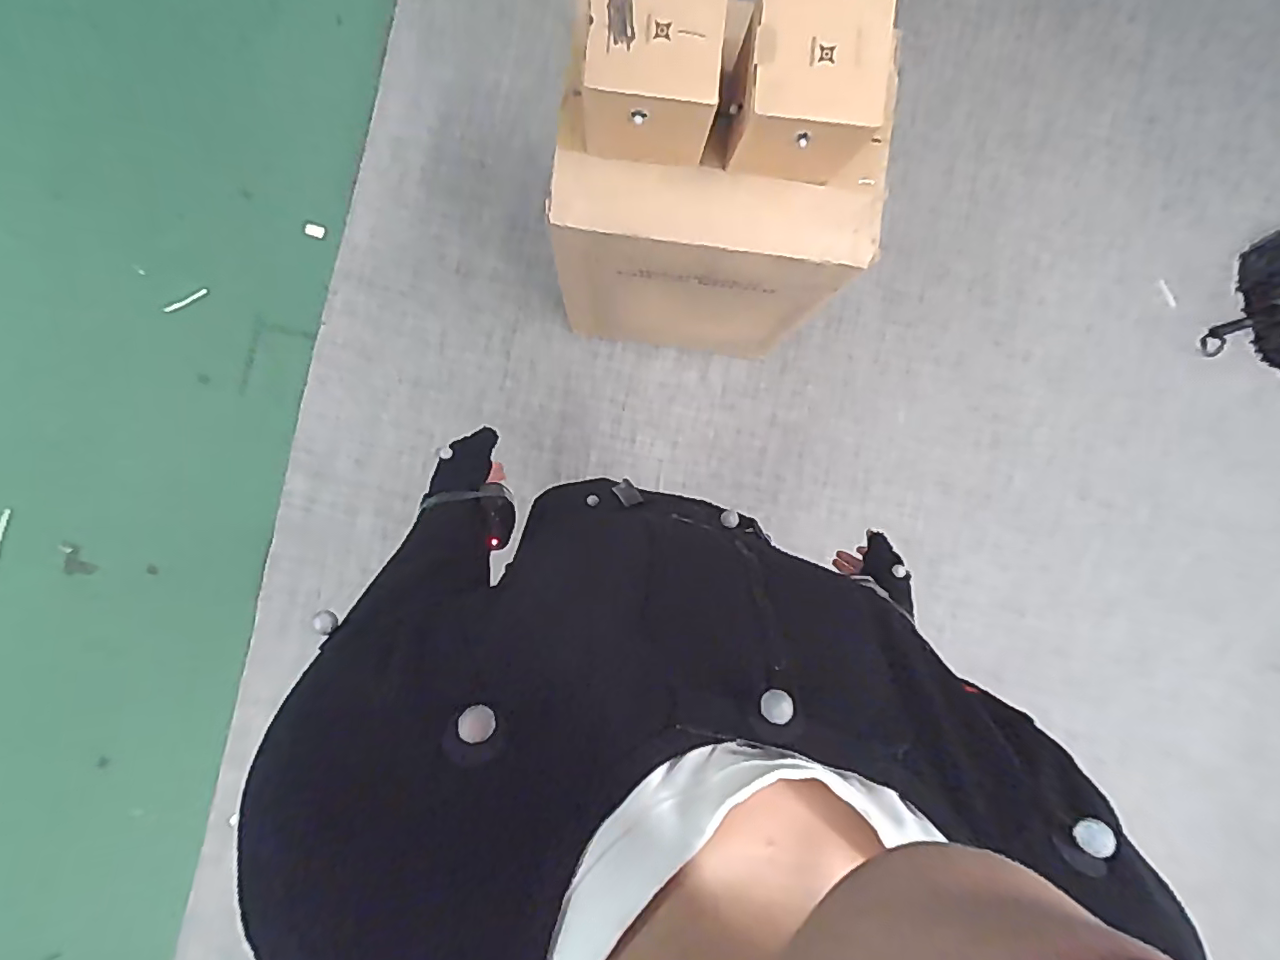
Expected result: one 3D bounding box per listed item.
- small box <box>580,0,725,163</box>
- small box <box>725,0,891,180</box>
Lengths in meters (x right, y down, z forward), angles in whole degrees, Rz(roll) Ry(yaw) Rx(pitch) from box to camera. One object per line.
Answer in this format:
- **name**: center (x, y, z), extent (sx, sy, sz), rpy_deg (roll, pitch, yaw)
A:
- **small box**: center (0.014, -0.576, 0.762), extent (0.179, 0.176, 0.168), rpy_deg (5, 95, -4)
- **small box**: center (0.227, -0.556, 0.776), extent (0.179, 0.176, 0.168), rpy_deg (3, 96, -5)
